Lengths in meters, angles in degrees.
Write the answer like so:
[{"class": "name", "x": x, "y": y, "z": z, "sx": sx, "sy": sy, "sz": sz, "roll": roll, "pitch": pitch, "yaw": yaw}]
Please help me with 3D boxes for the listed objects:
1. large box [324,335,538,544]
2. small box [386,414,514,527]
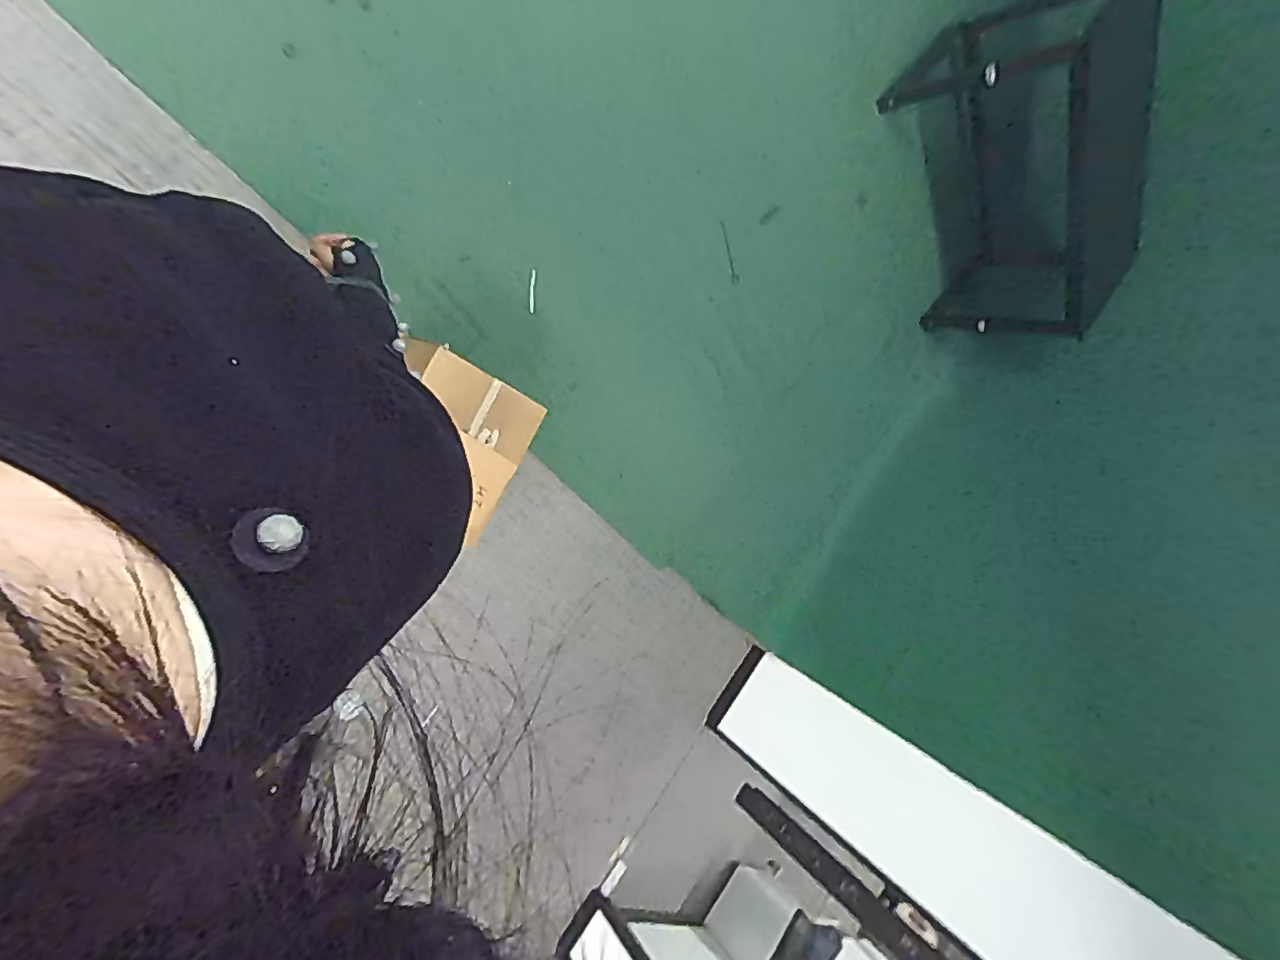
[{"class": "large box", "x": -0.533, "y": -0.106, "z": 1.369, "sx": 0.320, "sy": 0.320, "sz": 0.408, "roll": 30, "pitch": 85, "yaw": -43}, {"class": "small box", "x": -0.413, "y": -0.027, "z": 1.164, "sx": 0.179, "sy": 0.176, "sz": 0.168, "roll": 37, "pitch": 83, "yaw": -41}]
